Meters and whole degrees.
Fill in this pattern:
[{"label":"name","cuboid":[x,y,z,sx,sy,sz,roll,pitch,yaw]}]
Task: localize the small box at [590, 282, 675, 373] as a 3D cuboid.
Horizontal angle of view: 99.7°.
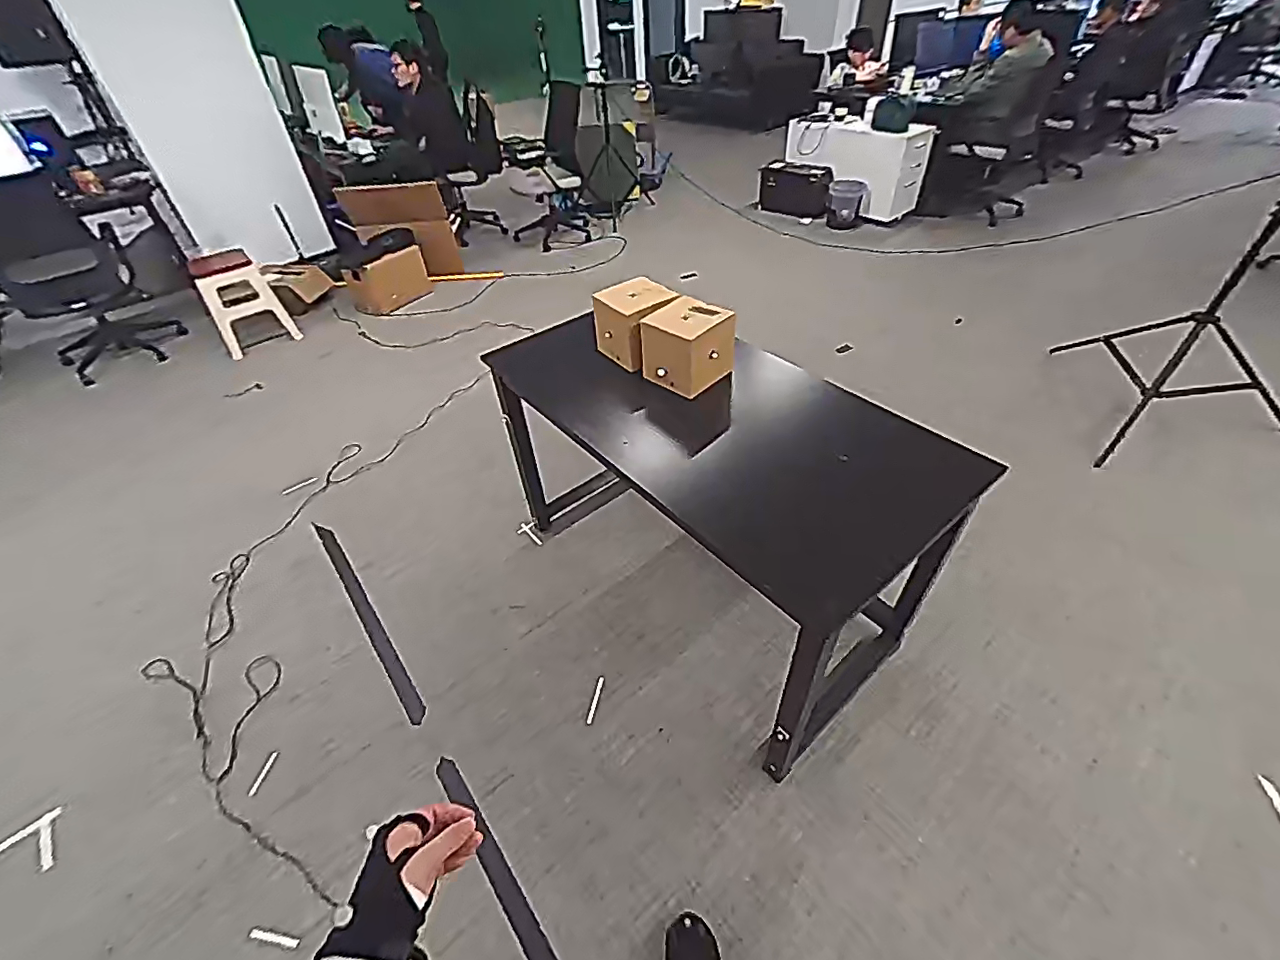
[{"label":"small box","cuboid":[-0.014,-0.420,1.493,0.179,0.176,0.168,-29,49,-24]}]
